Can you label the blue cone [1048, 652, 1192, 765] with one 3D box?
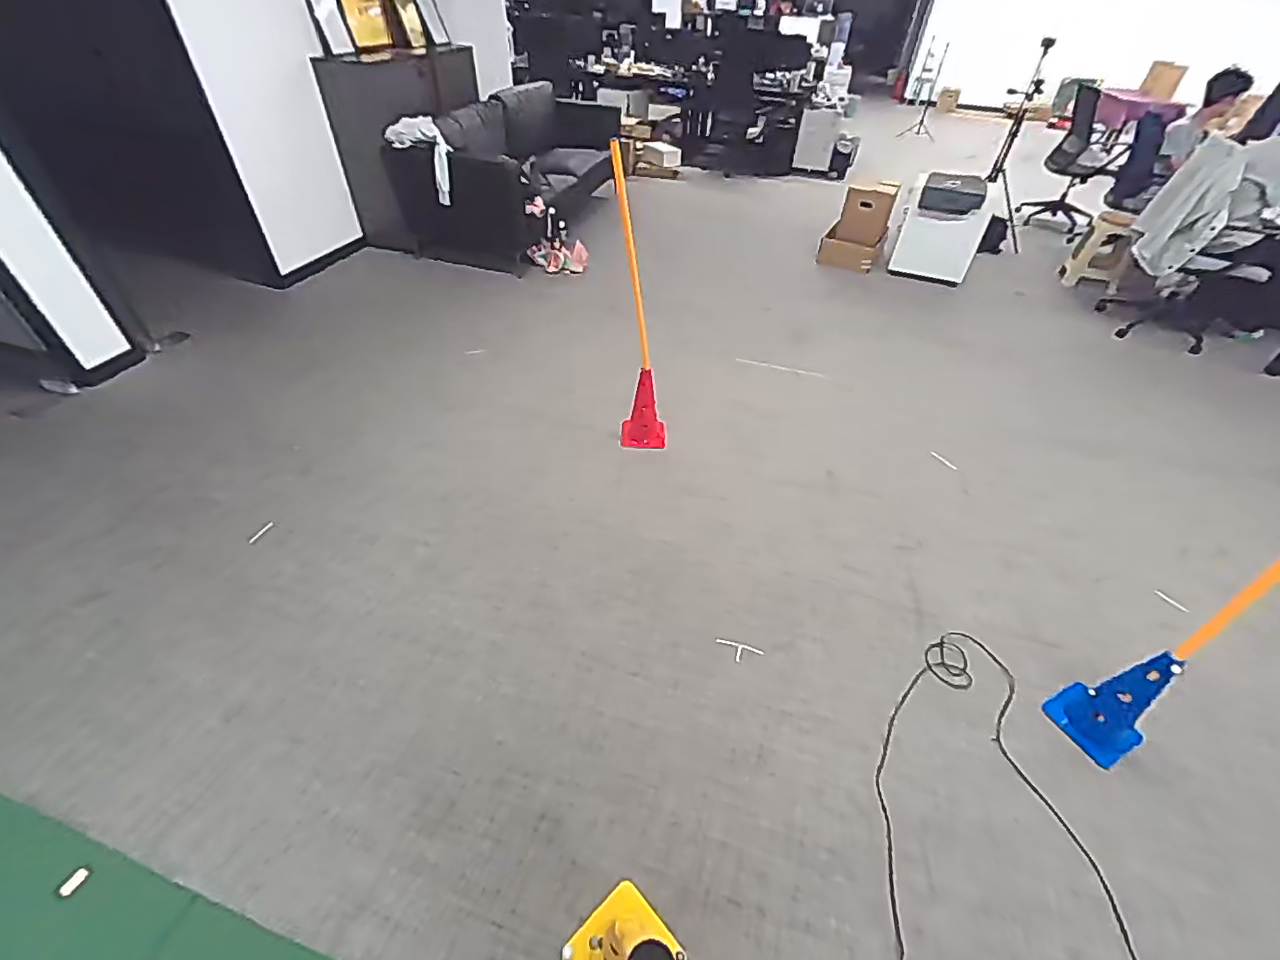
[{"bbox_3d":[1.311,0.572,1.449,0.193,0.380,0.192,-16,45,-24],"label":"blue cone"}]
